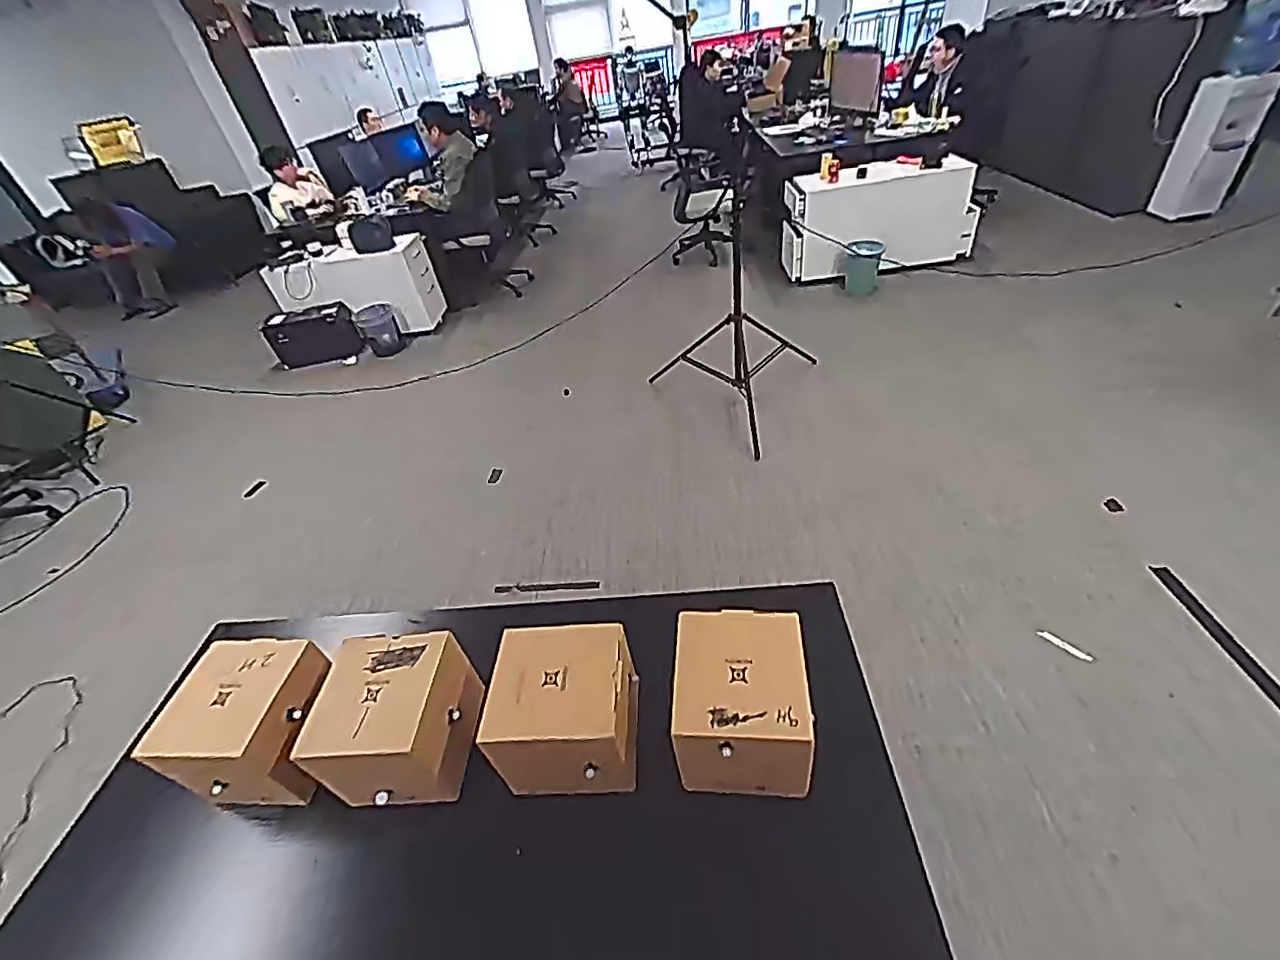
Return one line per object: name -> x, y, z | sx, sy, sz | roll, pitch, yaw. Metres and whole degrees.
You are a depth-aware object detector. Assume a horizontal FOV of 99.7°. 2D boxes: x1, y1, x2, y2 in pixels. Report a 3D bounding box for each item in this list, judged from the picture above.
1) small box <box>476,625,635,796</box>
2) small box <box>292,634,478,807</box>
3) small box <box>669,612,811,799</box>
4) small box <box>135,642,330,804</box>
small box -> -0.104, 0.327, 0.767 | 0.179, 0.176, 0.168 | -6, 38, 6
small box -> -0.350, 0.350, 0.789 | 0.168, 0.176, 0.179 | -5, 41, 5
small box -> 0.135, 0.303, 0.739 | 0.168, 0.176, 0.179 | -2, 39, 10
small box -> -0.573, 0.367, 0.817 | 0.168, 0.176, 0.179 | -3, 40, 7
